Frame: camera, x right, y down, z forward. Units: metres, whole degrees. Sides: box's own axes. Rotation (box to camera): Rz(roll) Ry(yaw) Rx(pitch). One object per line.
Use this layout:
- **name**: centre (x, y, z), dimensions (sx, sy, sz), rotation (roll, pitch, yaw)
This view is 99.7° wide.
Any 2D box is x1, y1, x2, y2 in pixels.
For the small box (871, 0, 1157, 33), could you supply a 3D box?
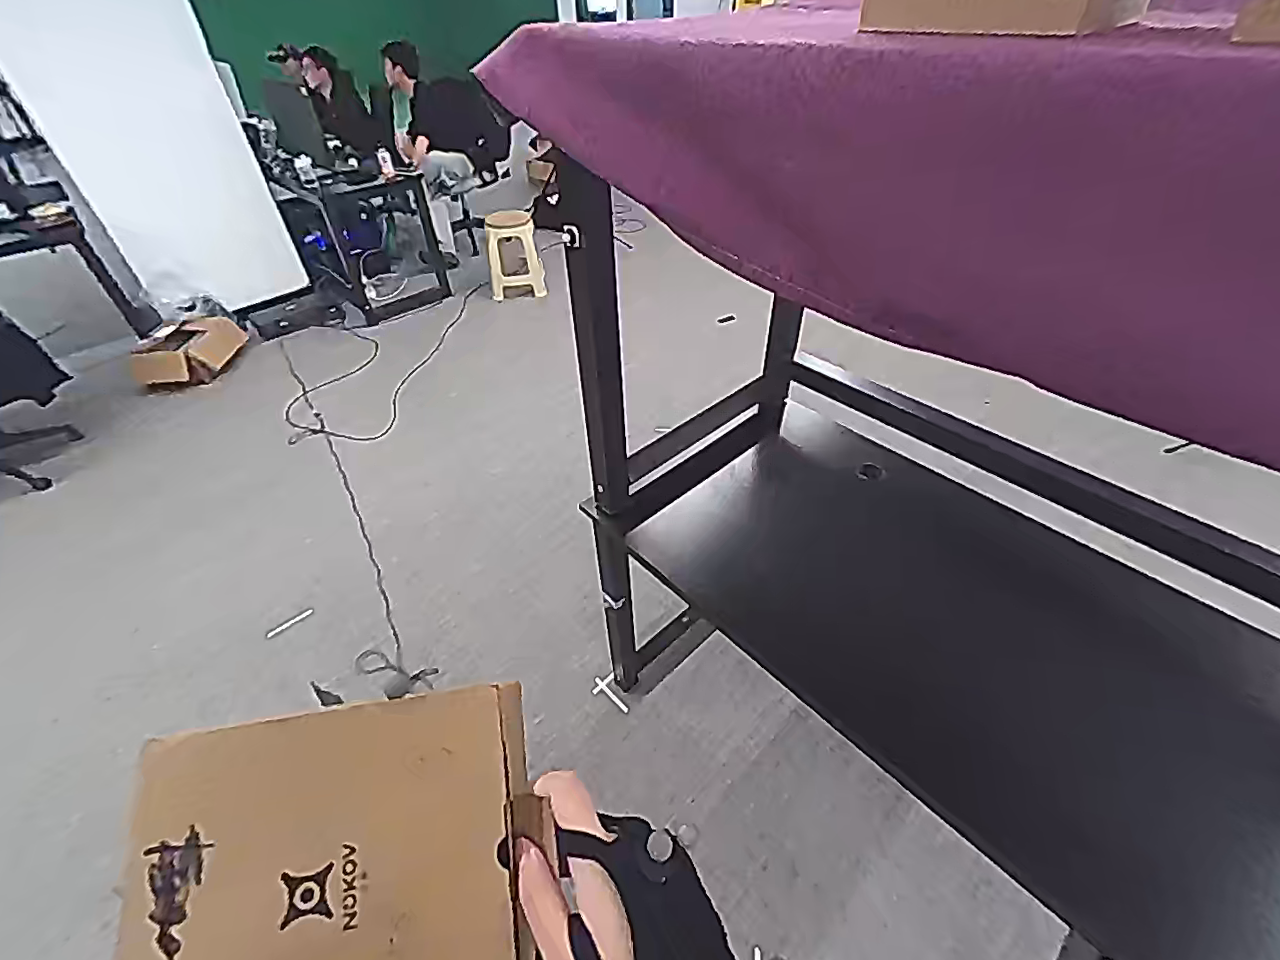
- **small box**: centre (0.308, -0.448, 0.400), dimensions (0.168, 0.176, 0.179), rotation (-32, 50, -29)
